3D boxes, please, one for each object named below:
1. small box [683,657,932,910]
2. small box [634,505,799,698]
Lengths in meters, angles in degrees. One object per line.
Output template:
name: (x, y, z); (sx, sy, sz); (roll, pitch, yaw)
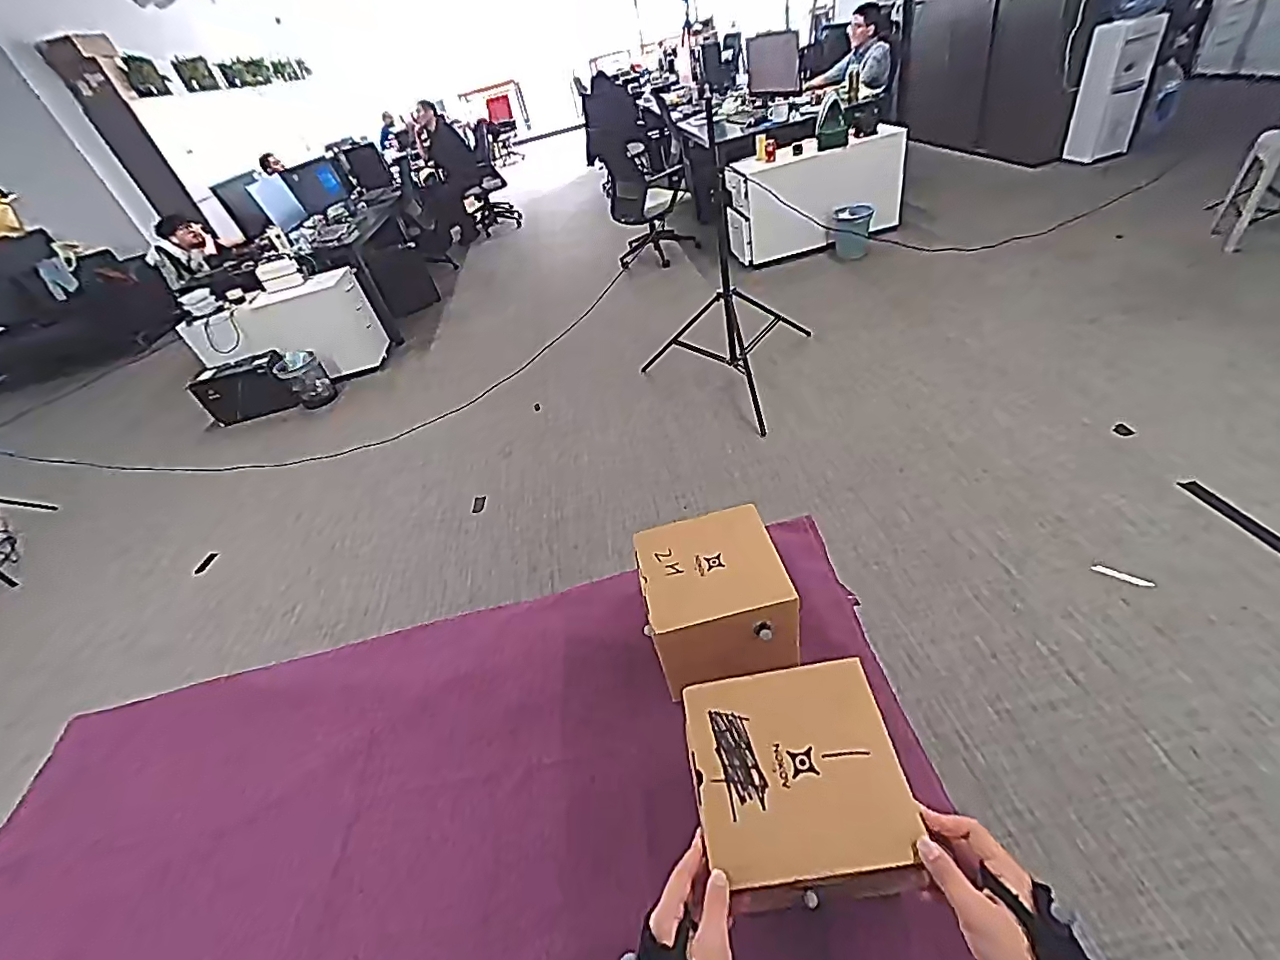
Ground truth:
small box: (0.151, 0.299, 0.526); (0.179, 0.176, 0.168); (-13, 46, 6)
small box: (0.101, 0.164, 0.727); (0.179, 0.176, 0.168); (-15, 40, 1)
